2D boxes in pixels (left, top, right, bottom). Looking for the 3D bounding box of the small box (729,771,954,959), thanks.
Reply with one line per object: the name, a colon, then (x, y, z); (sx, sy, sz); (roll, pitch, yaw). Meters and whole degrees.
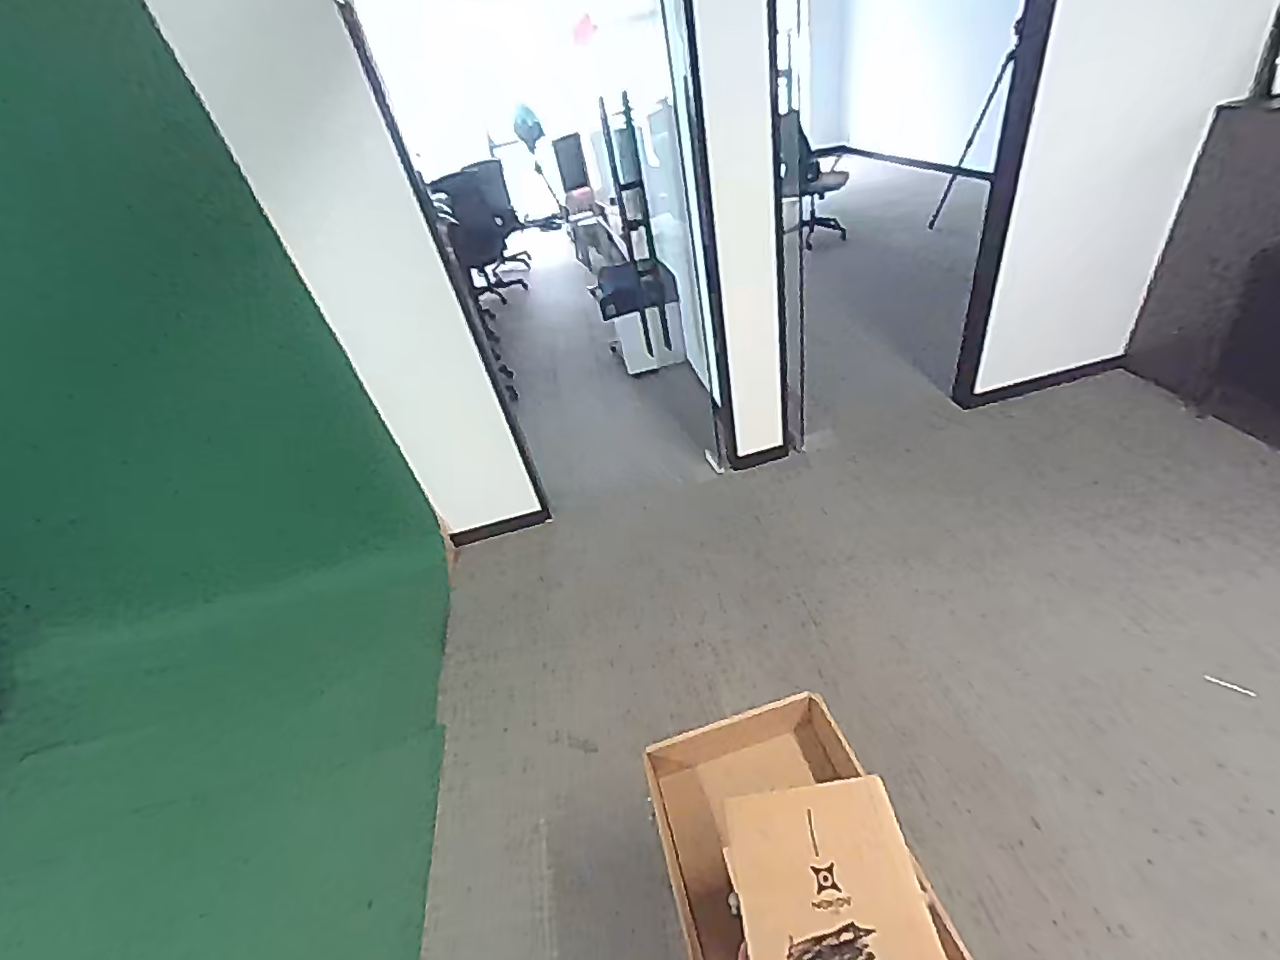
small box: (0.195, 0.424, 0.553); (0.168, 0.176, 0.179); (-12, 47, 5)
